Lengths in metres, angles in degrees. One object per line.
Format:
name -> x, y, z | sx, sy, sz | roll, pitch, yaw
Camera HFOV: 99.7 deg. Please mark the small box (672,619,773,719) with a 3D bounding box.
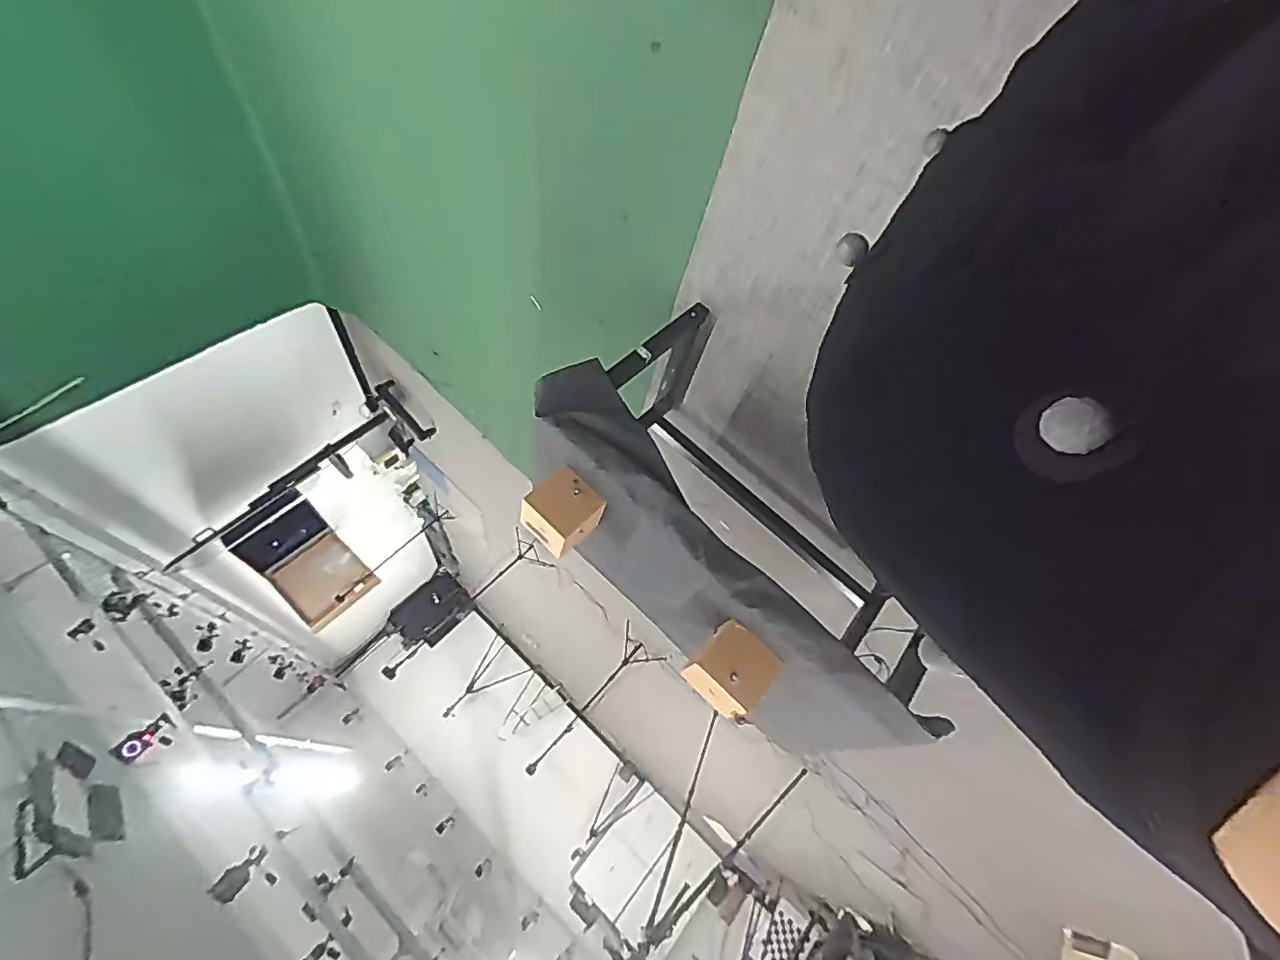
small box -> 0.220, 0.499, 1.428 | 0.179, 0.176, 0.168 | 43, 151, 11
